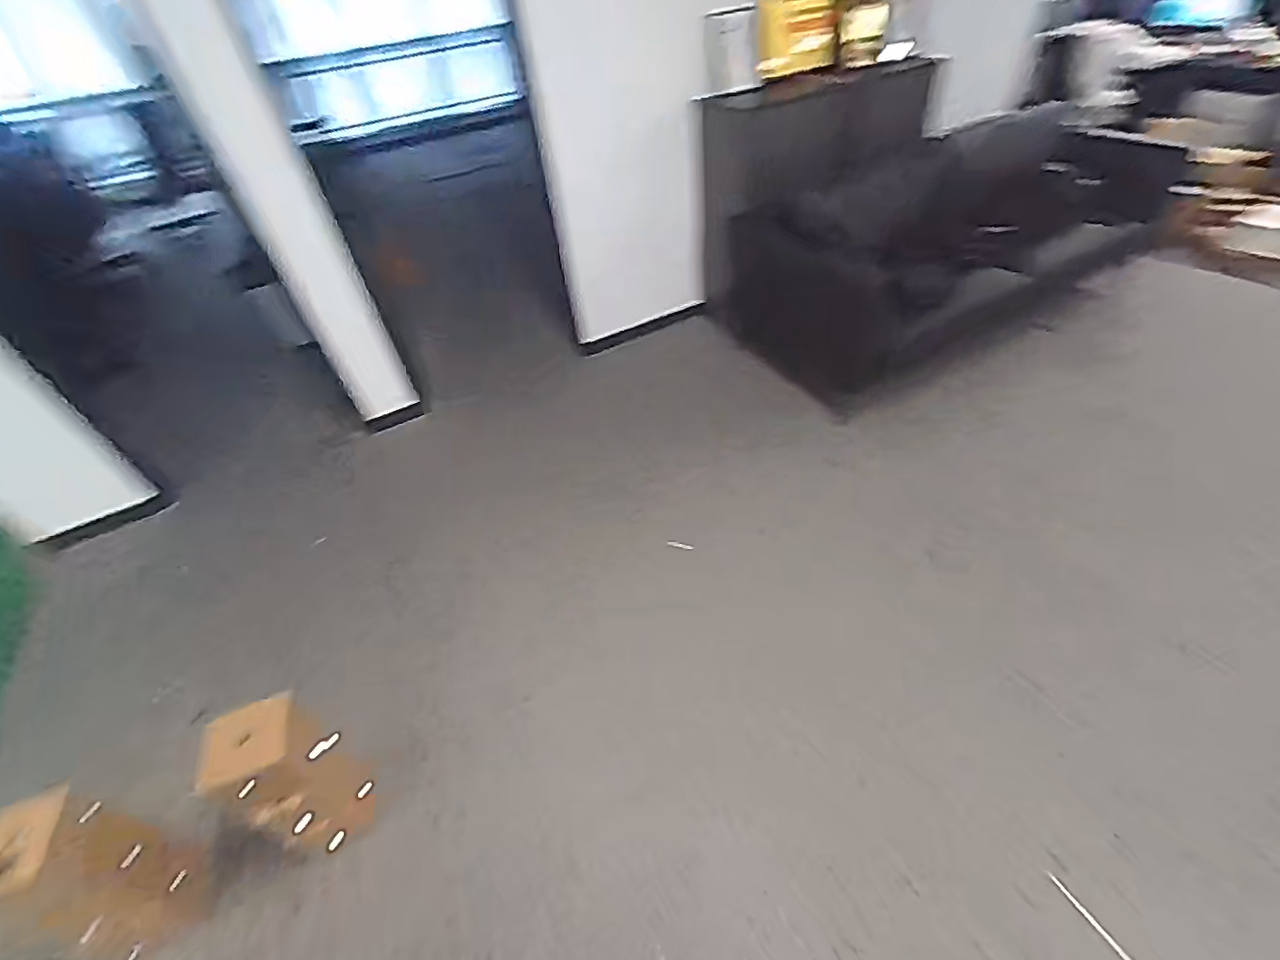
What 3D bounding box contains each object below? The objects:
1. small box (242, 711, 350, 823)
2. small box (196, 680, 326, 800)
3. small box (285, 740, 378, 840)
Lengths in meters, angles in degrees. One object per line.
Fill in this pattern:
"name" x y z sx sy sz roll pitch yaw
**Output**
"small box" -0.847 0.717 1.353 0.168 0.176 0.179 -19 45 -10
"small box" -0.856 0.599 1.241 0.179 0.176 0.168 -18 45 -12
"small box" -0.828 0.841 1.460 0.168 0.176 0.179 -21 46 -14
